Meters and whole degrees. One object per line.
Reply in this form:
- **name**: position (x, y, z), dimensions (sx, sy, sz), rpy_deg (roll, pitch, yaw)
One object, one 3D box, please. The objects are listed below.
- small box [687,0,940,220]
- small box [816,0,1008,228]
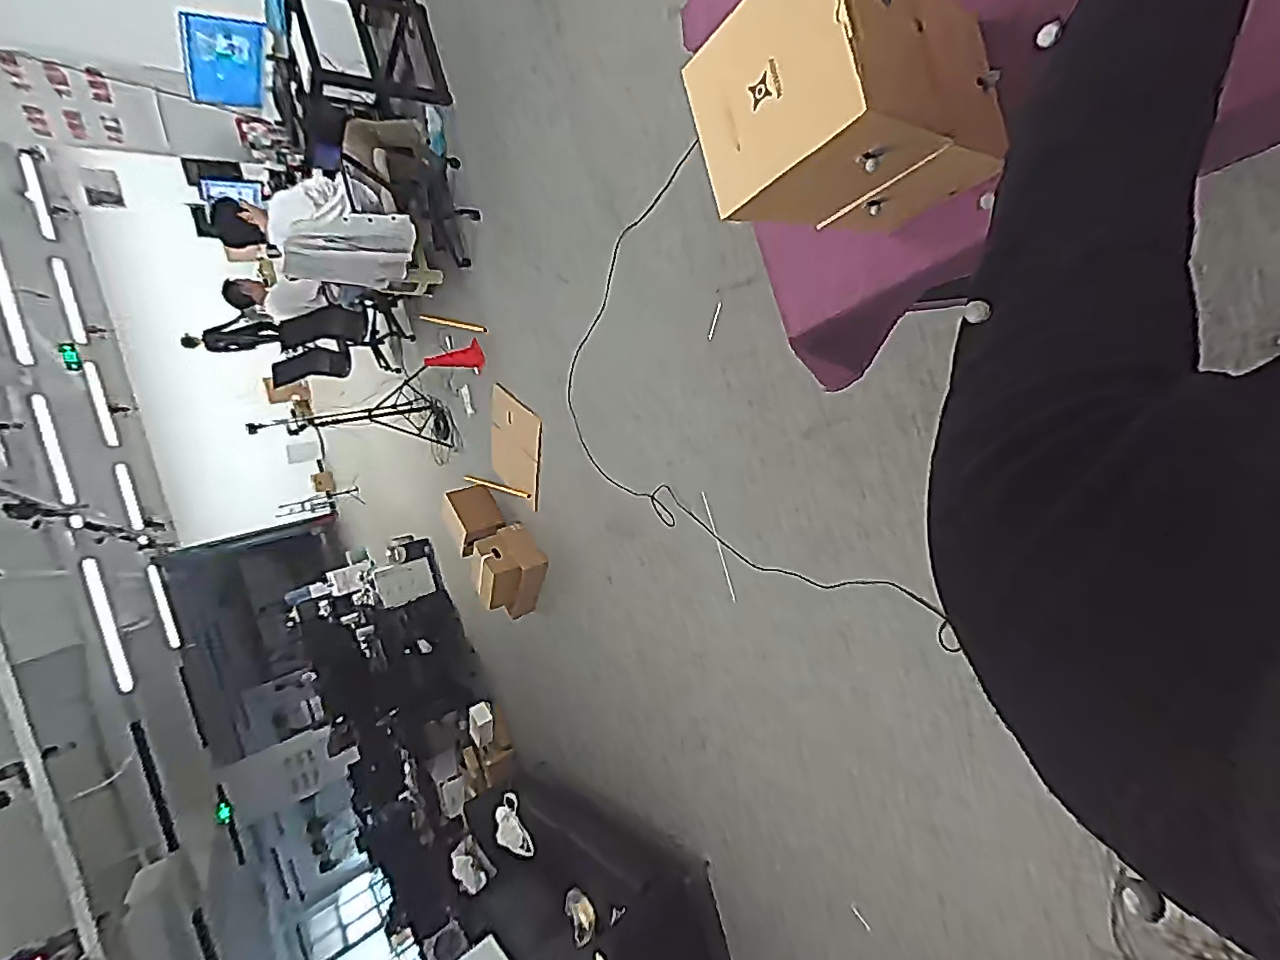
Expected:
- **small box**: position (0.182, -0.391, 0.558), dimensions (0.179, 0.176, 0.168), rpy_deg (-12, 94, 54)
- **small box**: position (0.309, -0.429, 0.655), dimensions (0.168, 0.176, 0.179), rpy_deg (-14, 92, 55)
